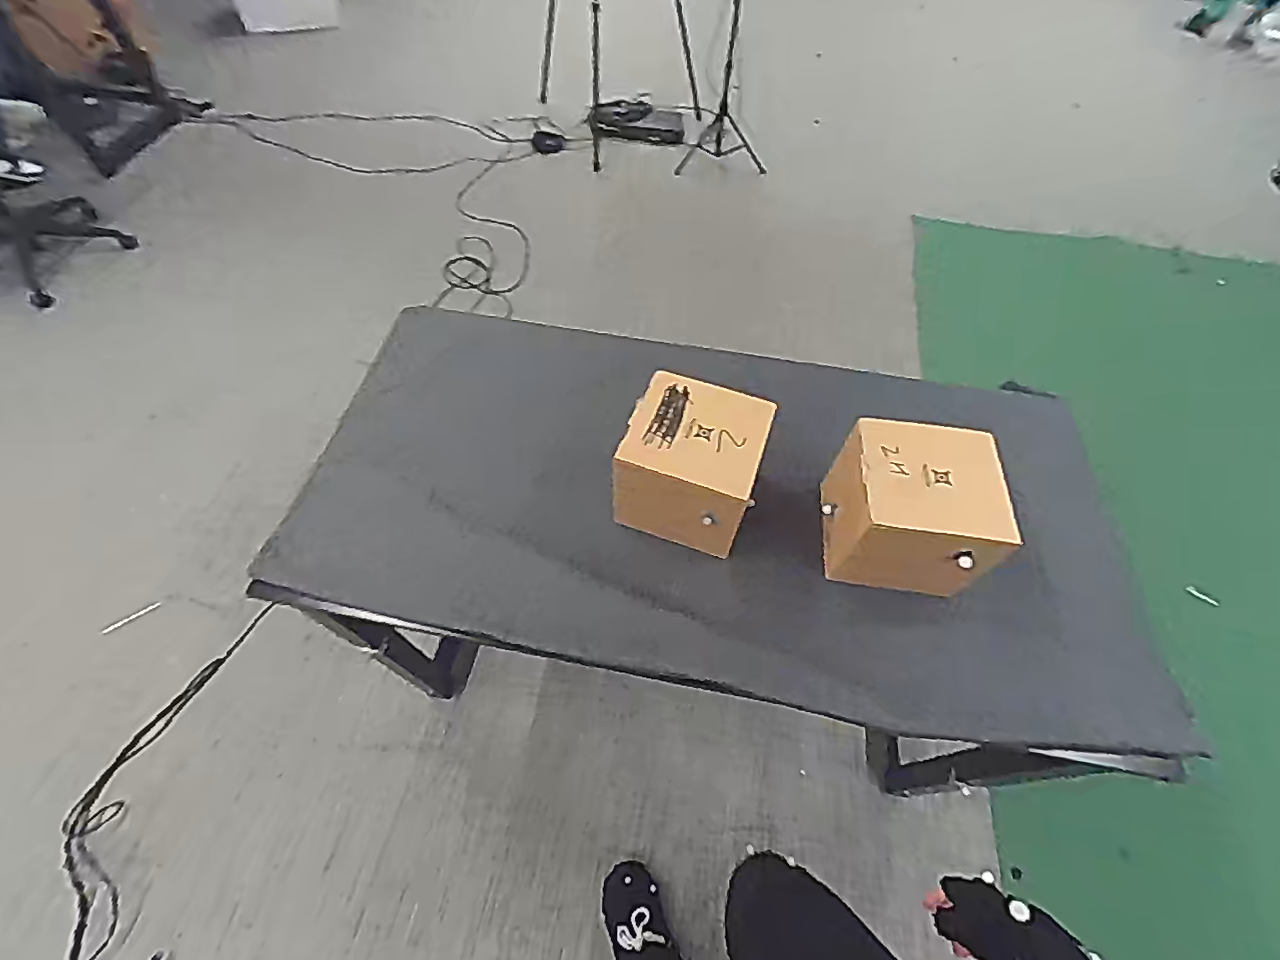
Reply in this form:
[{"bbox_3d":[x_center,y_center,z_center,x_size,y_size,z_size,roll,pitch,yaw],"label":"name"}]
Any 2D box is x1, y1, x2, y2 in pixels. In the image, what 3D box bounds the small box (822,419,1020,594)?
[{"bbox_3d":[0.362,0.042,0.734,0.179,0.176,0.168,7,57,4],"label":"small box"}]
